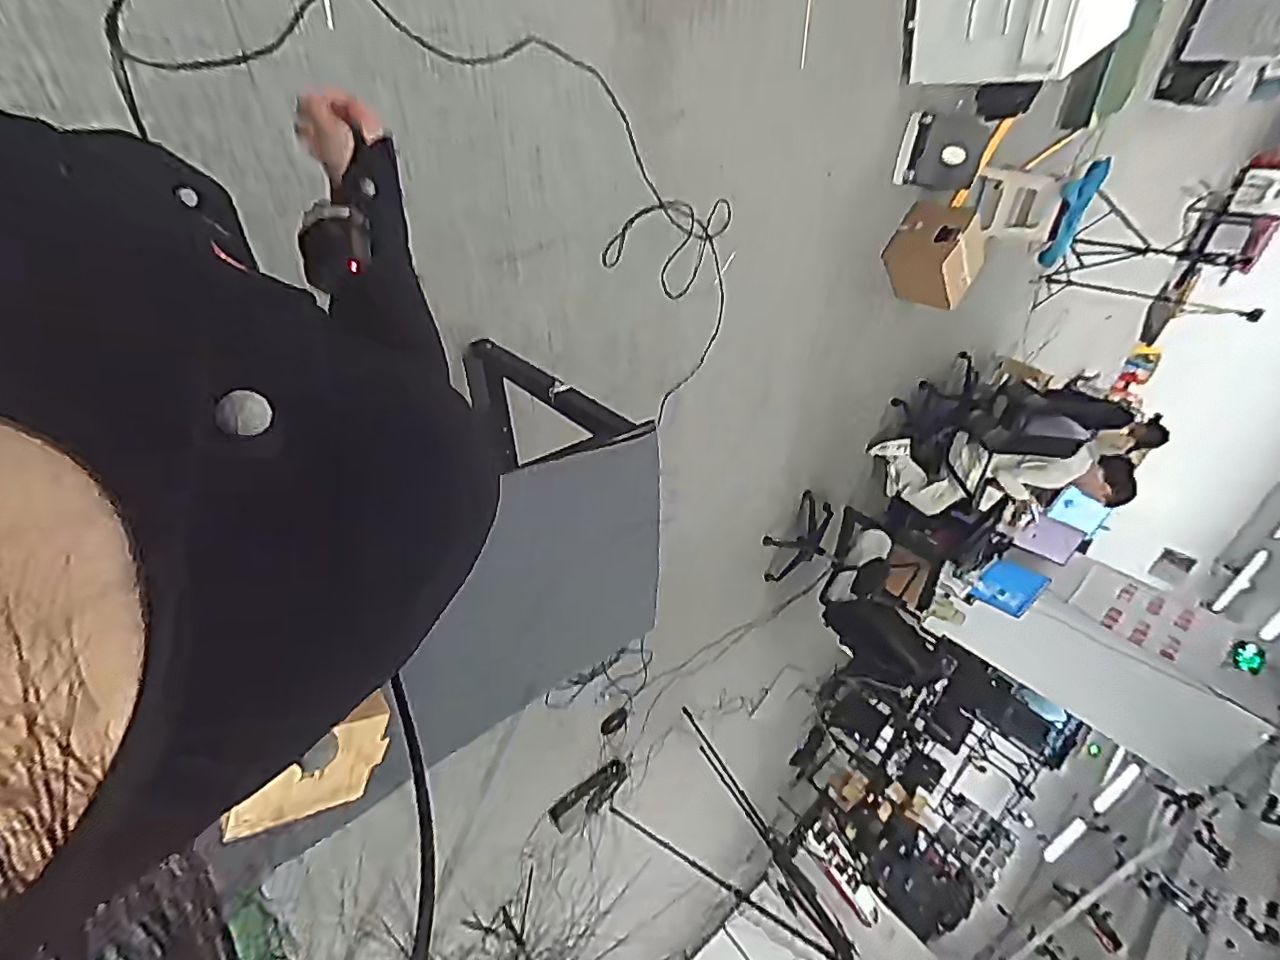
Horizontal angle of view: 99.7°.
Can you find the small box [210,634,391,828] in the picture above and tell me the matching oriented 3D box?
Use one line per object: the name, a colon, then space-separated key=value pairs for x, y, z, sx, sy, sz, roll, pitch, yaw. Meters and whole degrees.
small box: x=-0.503 y=0.350 z=0.793 sx=0.179 sy=0.176 sz=0.168 roll=6 pitch=113 yaw=-49
